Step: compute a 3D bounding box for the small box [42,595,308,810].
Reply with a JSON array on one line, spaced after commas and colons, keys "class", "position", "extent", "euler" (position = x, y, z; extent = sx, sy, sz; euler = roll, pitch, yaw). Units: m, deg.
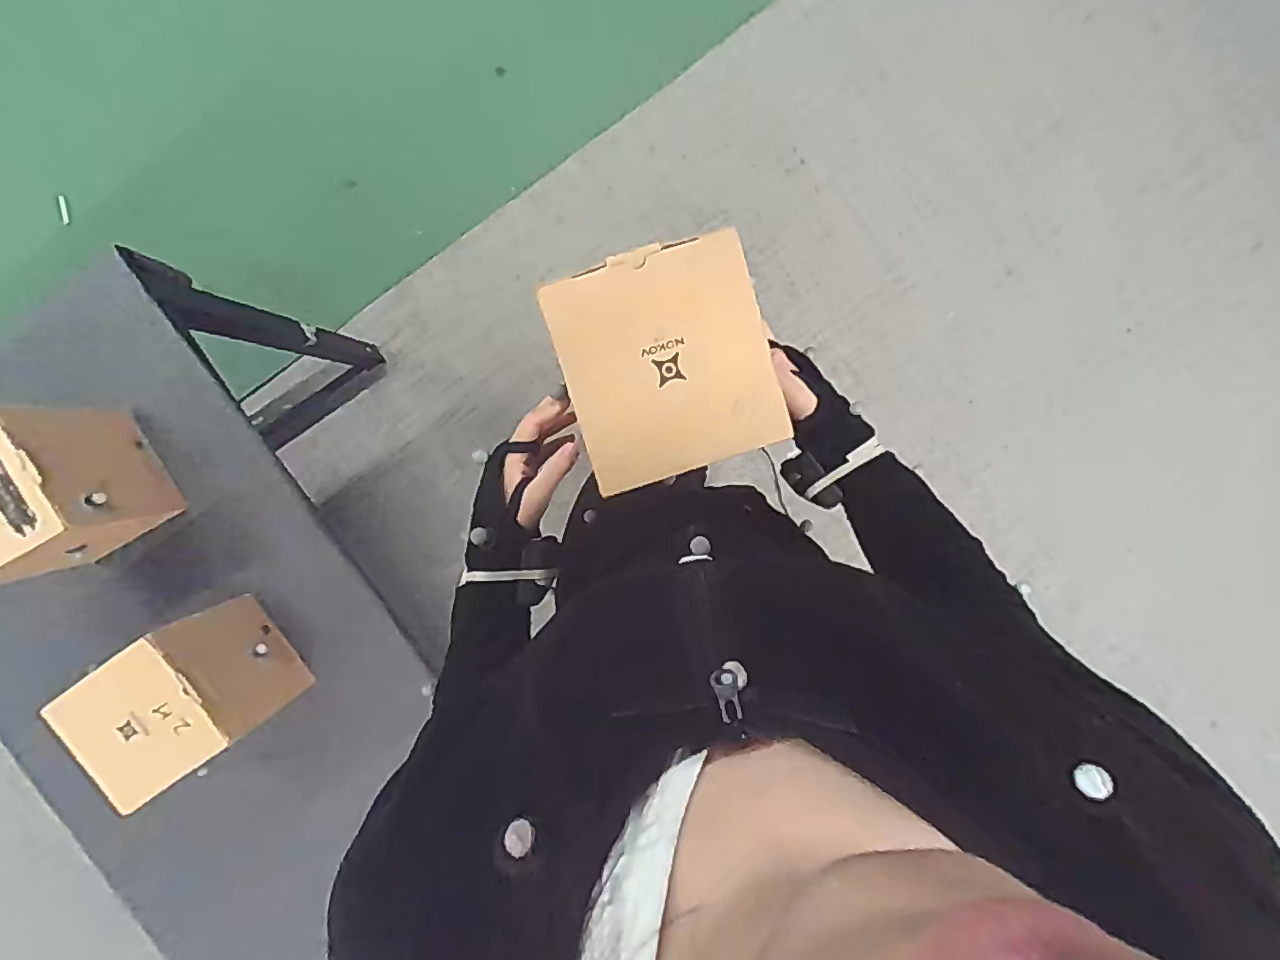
[{"class": "small box", "position": [-0.605, 0.285, 0.728], "extent": [0.179, 0.176, 0.168], "euler": [-34, 94, 4]}]

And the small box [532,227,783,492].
[{"class": "small box", "position": [0.014, -0.101, 0.511], "extent": [0.168, 0.176, 0.179], "euler": [-18, 95, -1]}]
